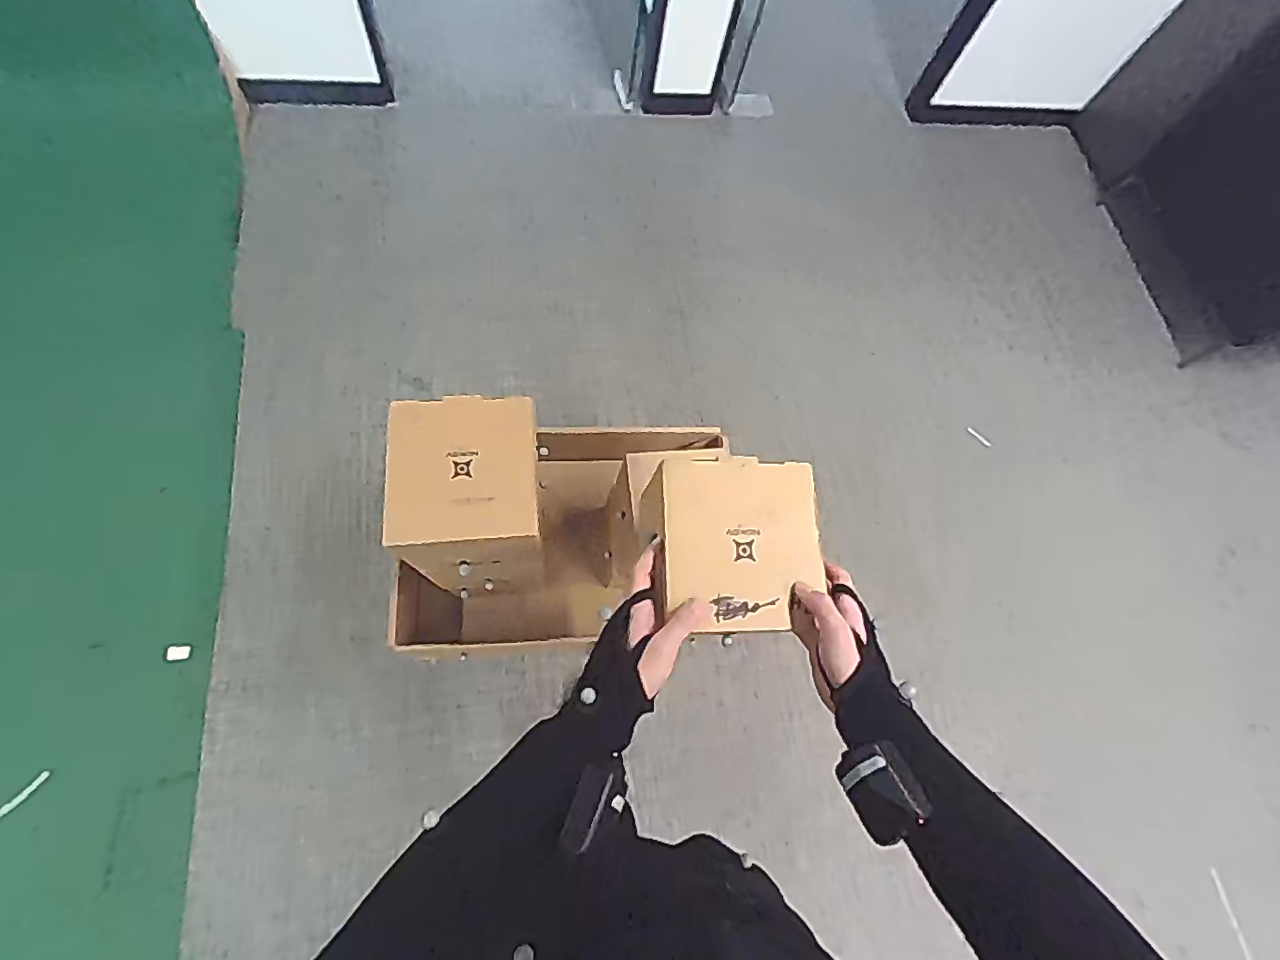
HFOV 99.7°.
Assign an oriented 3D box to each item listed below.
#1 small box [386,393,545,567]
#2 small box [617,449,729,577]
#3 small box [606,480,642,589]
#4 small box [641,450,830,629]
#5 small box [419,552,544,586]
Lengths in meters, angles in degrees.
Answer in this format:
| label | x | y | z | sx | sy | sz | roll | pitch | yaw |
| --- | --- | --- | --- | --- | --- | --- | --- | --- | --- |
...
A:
| label | x | y | z | sx | sy | sz | roll | pitch | yaw |
| --- | --- | --- | --- | --- | --- | --- | --- | --- | --- |
| small box | -0.209 | 0.006 | 0.690 | 0.168 | 0.176 | 0.179 | -3 | 72 | -9 |
| small box | 0.057 | 0.061 | 0.888 | 0.168 | 0.176 | 0.179 | -3 | 71 | -11 |
| small box | 0.024 | 0.110 | 1.042 | 0.168 | 0.176 | 0.179 | 1 | 71 | -9 |
| small box | 0.094 | 0.077 | 0.620 | 0.168 | 0.176 | 0.179 | 1 | 74 | -8 |
| small box | -0.236 | 0.060 | 0.840 | 0.168 | 0.176 | 0.179 | -3 | 71 | -9 |
